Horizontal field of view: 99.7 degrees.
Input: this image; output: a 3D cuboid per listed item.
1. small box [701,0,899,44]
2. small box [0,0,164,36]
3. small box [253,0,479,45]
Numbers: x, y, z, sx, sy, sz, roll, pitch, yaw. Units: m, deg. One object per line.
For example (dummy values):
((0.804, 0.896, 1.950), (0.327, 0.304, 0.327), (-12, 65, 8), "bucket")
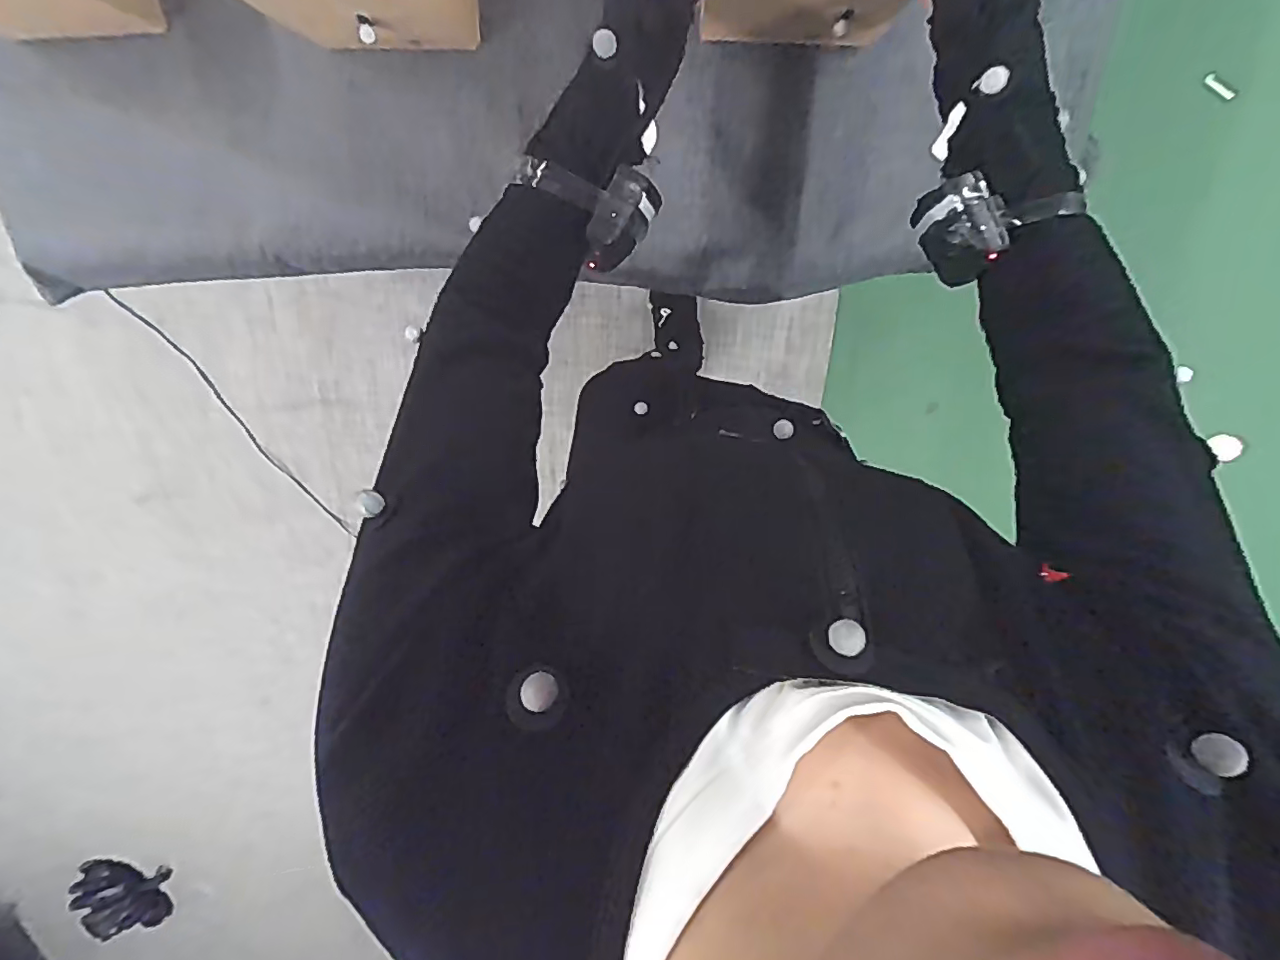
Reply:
((0.139, -0.474, 0.426), (0.168, 0.176, 0.179), (3, 115, 1), "small box")
((-0.574, -0.503, 0.454), (0.179, 0.176, 0.168), (-1, 113, 2), "small box")
((-0.243, -0.487, 0.445), (0.168, 0.176, 0.179), (2, 114, 2), "small box")
